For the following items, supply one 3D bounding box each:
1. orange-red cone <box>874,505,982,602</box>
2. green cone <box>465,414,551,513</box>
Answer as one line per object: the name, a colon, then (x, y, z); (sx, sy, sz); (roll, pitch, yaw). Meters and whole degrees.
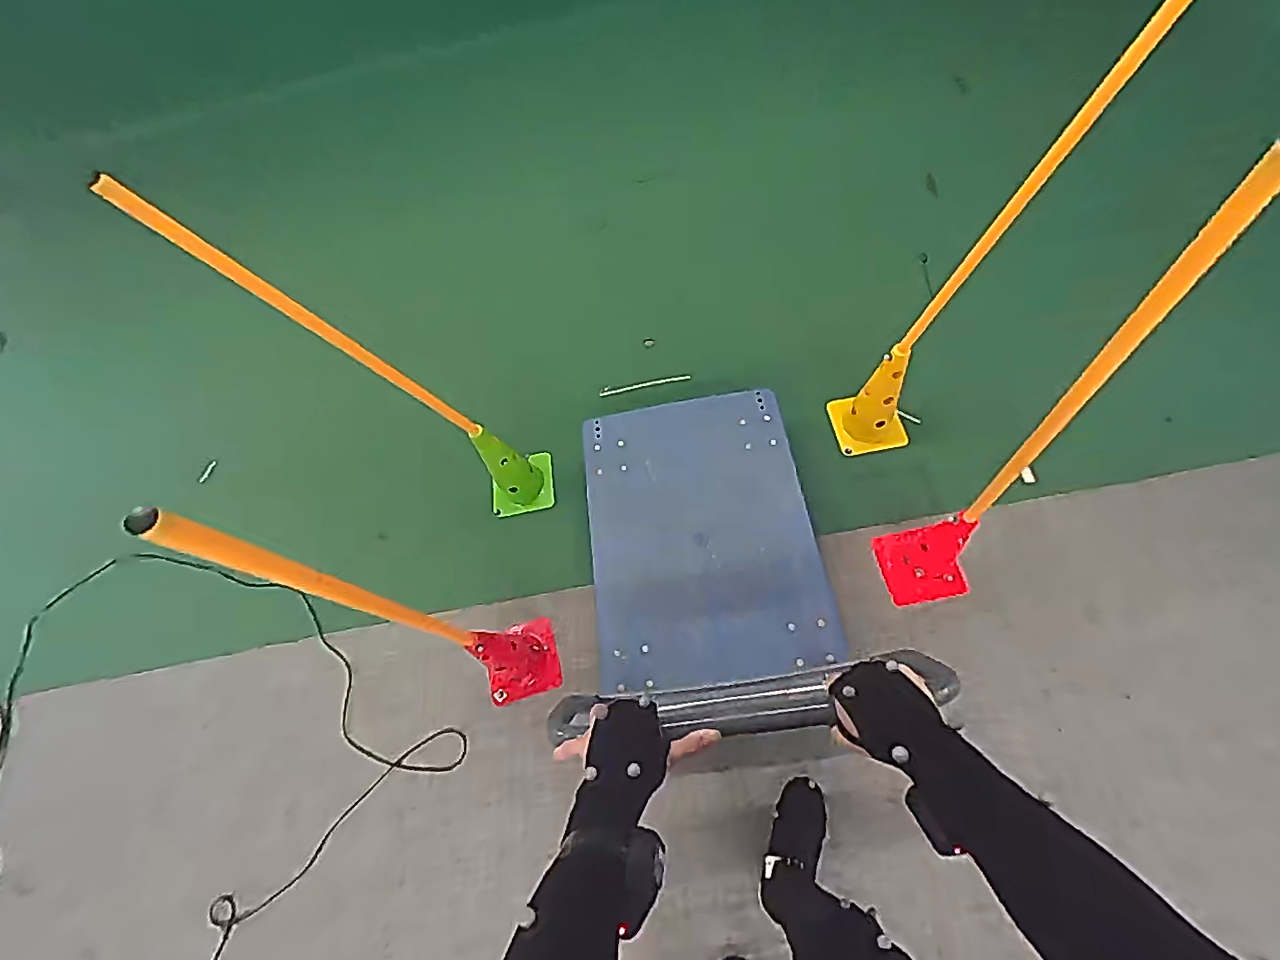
orange-red cone: (0.727, 0.146, 1.299); (0.198, 0.360, 0.199); (-11, 62, 3)
green cone: (-0.409, -0.074, 1.576); (0.200, 0.368, 0.202); (-12, 63, 4)
